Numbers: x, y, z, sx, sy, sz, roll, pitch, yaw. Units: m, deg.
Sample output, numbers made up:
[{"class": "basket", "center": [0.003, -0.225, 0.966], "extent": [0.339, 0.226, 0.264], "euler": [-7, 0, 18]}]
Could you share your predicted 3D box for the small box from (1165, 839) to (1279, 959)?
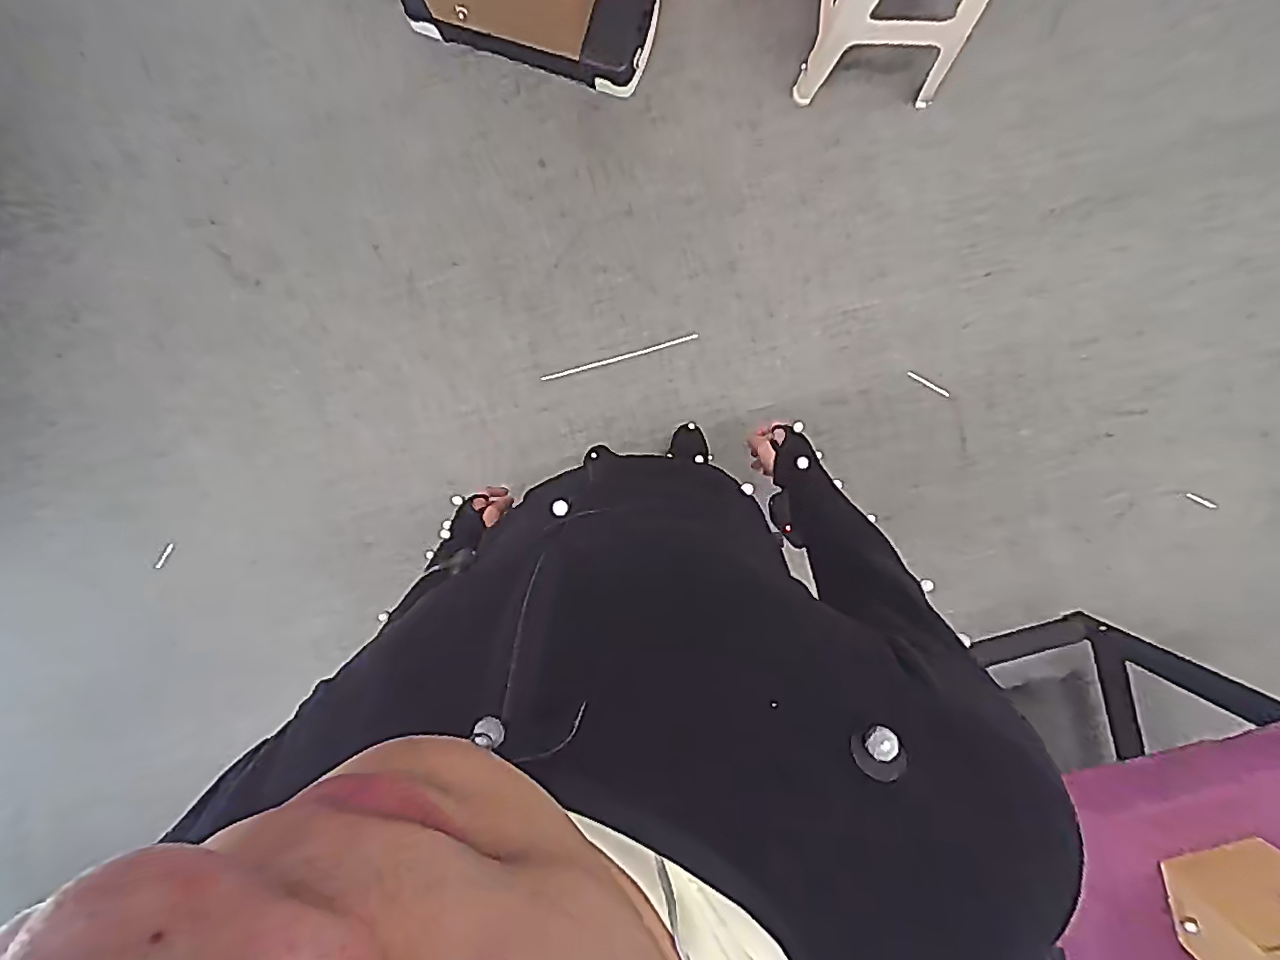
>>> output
[{"class": "small box", "center": [1.023, 0.725, 0.872], "extent": [0.179, 0.176, 0.168], "euler": [-18, 95, 3]}]
